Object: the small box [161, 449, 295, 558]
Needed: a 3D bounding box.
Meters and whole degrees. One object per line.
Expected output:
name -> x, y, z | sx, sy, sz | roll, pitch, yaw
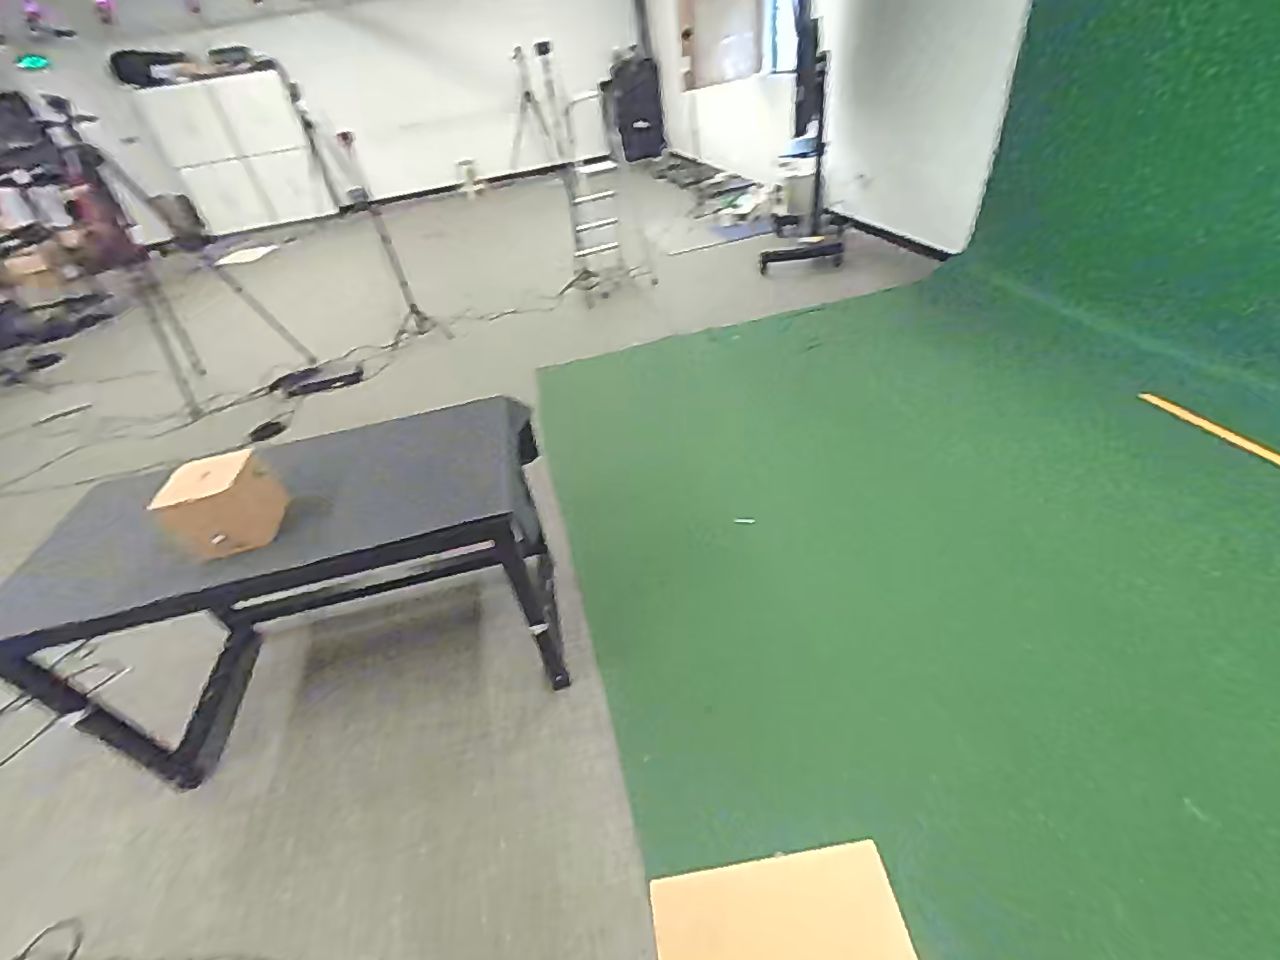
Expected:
small box -> -0.957, 0.055, 1.280 | 0.168, 0.176, 0.179 | -15, 38, -5
